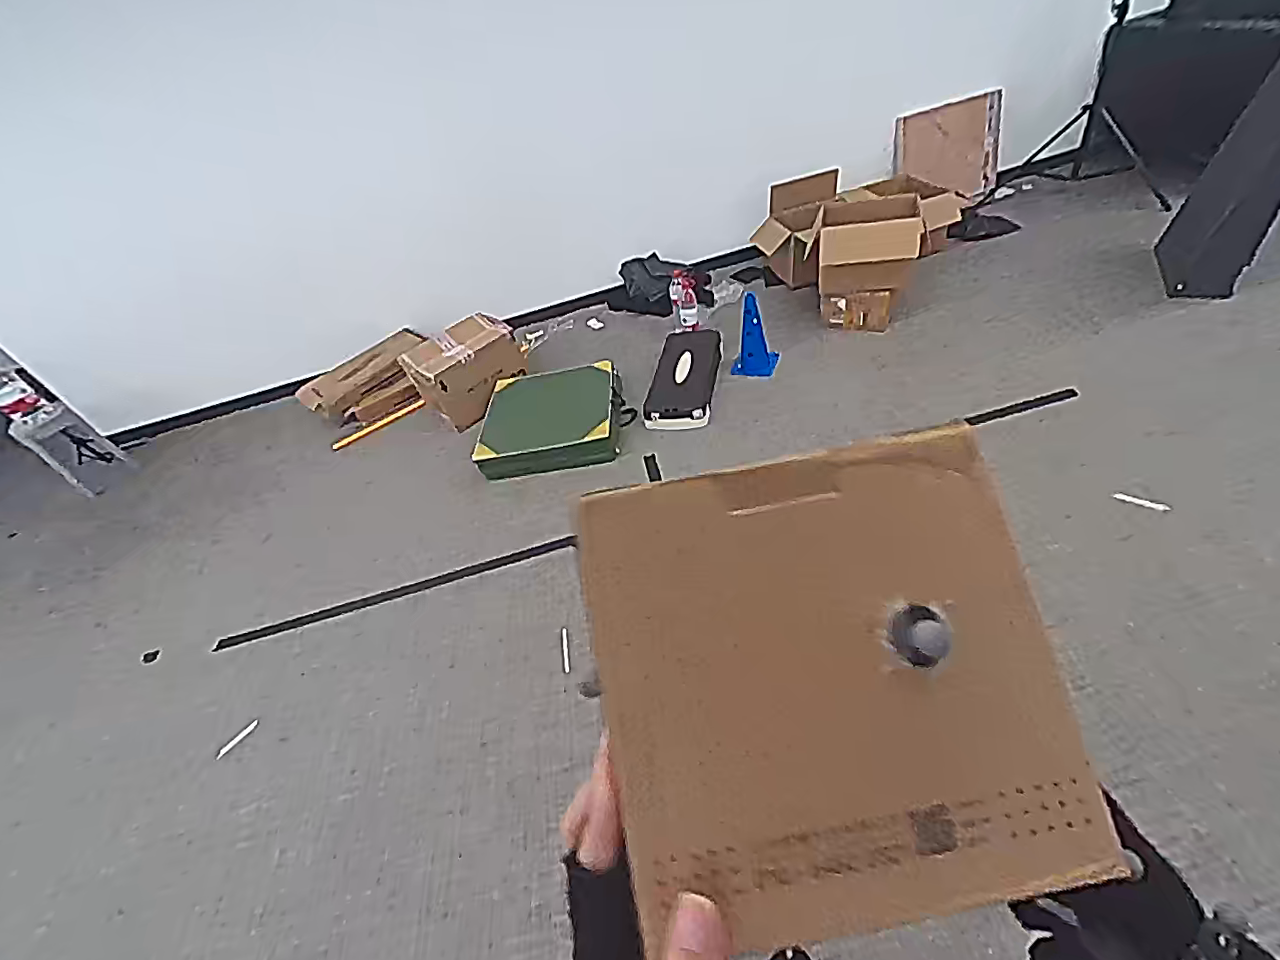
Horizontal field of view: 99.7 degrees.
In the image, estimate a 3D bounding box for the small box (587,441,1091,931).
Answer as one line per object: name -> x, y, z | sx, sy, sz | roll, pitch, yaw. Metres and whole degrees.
small box -> 0.073, 0.095, 0.283 | 0.168, 0.179, 0.176 | -10, 77, -2
